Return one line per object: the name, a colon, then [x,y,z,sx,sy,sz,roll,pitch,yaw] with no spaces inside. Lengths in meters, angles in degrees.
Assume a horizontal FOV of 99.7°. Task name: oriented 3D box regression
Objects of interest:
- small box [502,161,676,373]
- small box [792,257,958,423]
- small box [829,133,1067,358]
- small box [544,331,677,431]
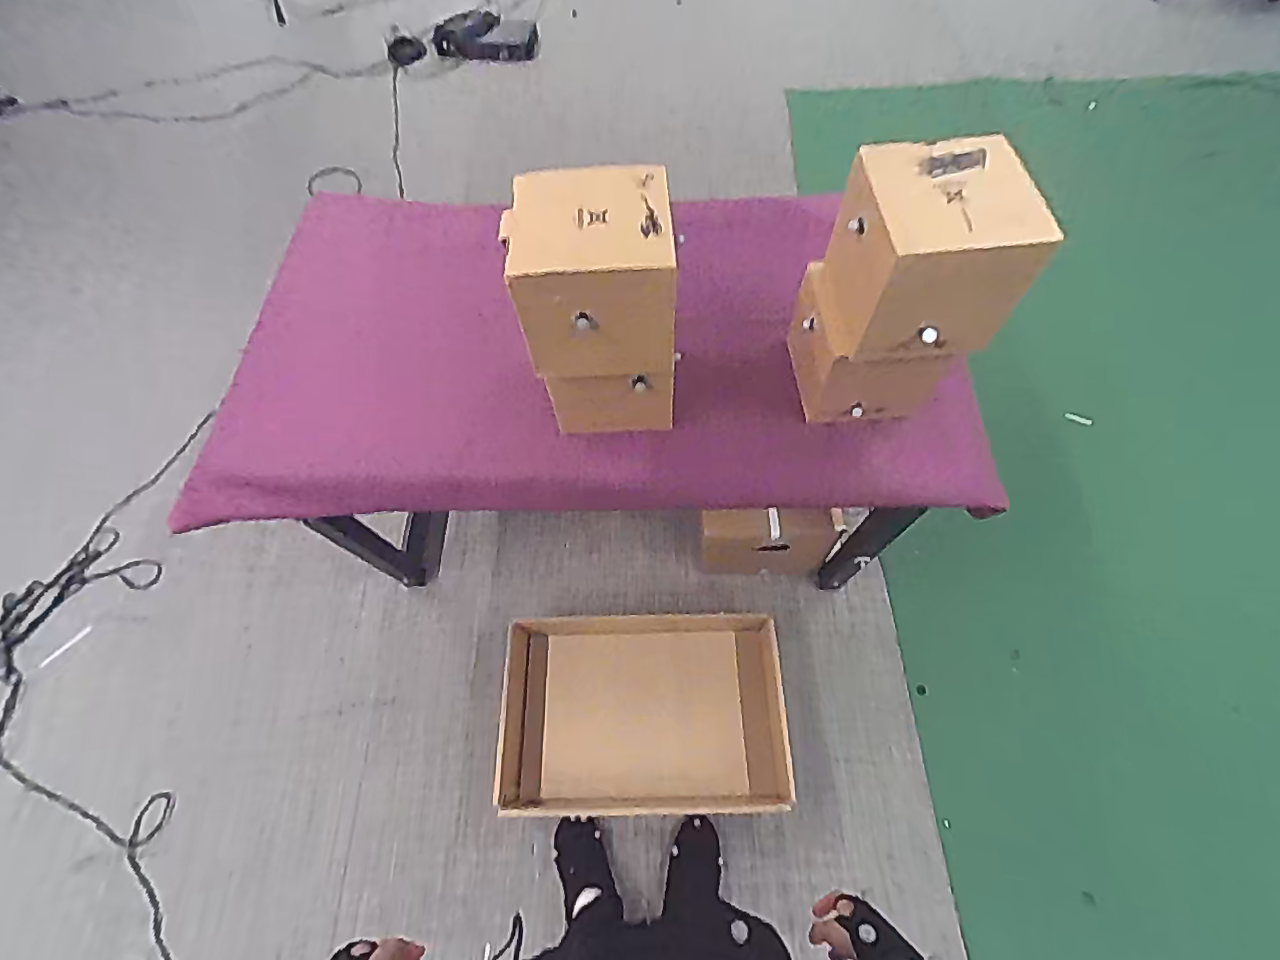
small box: [-0.050,-0.243,0.644,0.179,0.176,0.168,-4,63,2]
small box: [0.329,-0.204,0.789,0.168,0.176,0.179,-4,62,3]
small box: [0.336,-0.269,0.637,0.168,0.176,0.179,-4,63,3]
small box: [-0.038,-0.185,0.799,0.179,0.176,0.168,-3,62,2]
